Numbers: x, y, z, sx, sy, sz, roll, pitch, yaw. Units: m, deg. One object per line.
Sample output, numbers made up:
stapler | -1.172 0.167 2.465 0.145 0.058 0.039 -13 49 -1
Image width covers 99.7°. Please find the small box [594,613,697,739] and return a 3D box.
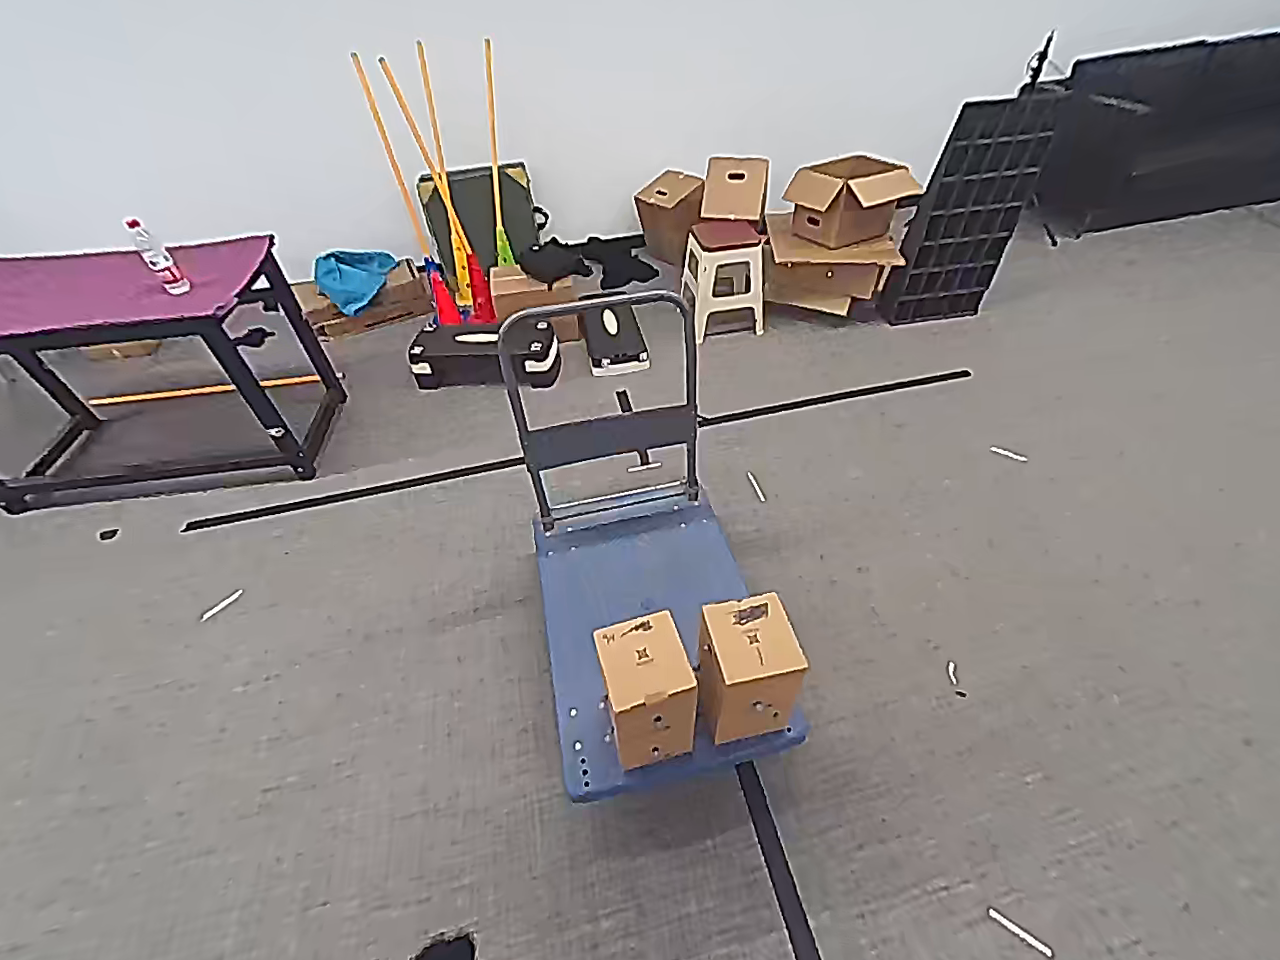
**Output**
small box | 0.011 0.407 1.105 0.168 0.176 0.179 -13 46 -10

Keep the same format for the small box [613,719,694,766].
small box | 0.019 0.522 1.223 0.168 0.176 0.179 -12 45 -9

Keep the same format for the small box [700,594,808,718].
small box | 0.227 0.368 1.130 0.168 0.176 0.179 -9 46 -6
